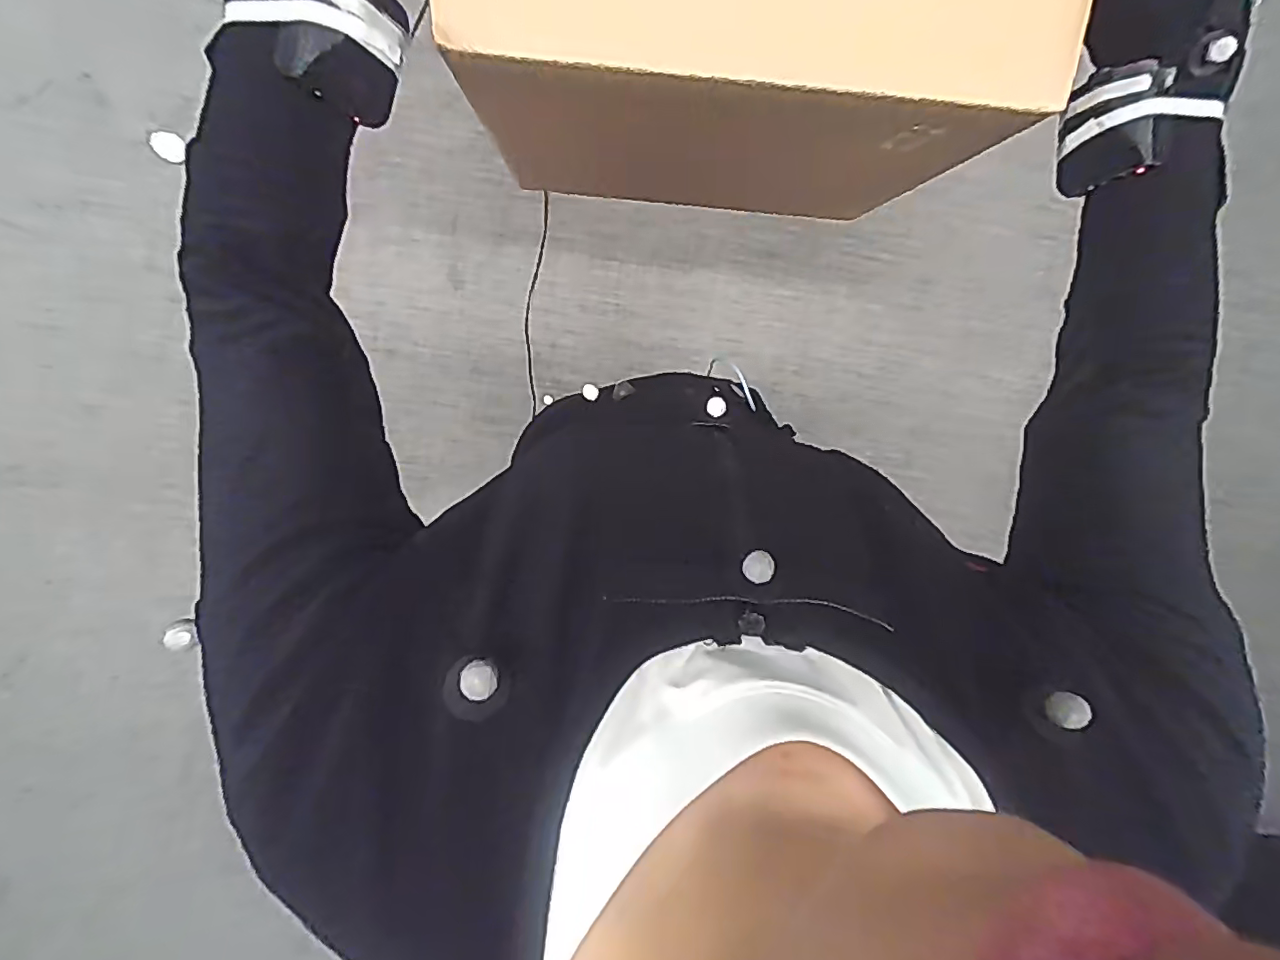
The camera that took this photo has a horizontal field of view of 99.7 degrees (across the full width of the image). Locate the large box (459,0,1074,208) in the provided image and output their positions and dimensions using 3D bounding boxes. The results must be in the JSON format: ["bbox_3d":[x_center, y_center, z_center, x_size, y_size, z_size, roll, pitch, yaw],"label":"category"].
[{"bbox_3d":[0.079,-0.445,0.460,0.408,0.320,0.320,2,104,-5],"label":"large box"}]
